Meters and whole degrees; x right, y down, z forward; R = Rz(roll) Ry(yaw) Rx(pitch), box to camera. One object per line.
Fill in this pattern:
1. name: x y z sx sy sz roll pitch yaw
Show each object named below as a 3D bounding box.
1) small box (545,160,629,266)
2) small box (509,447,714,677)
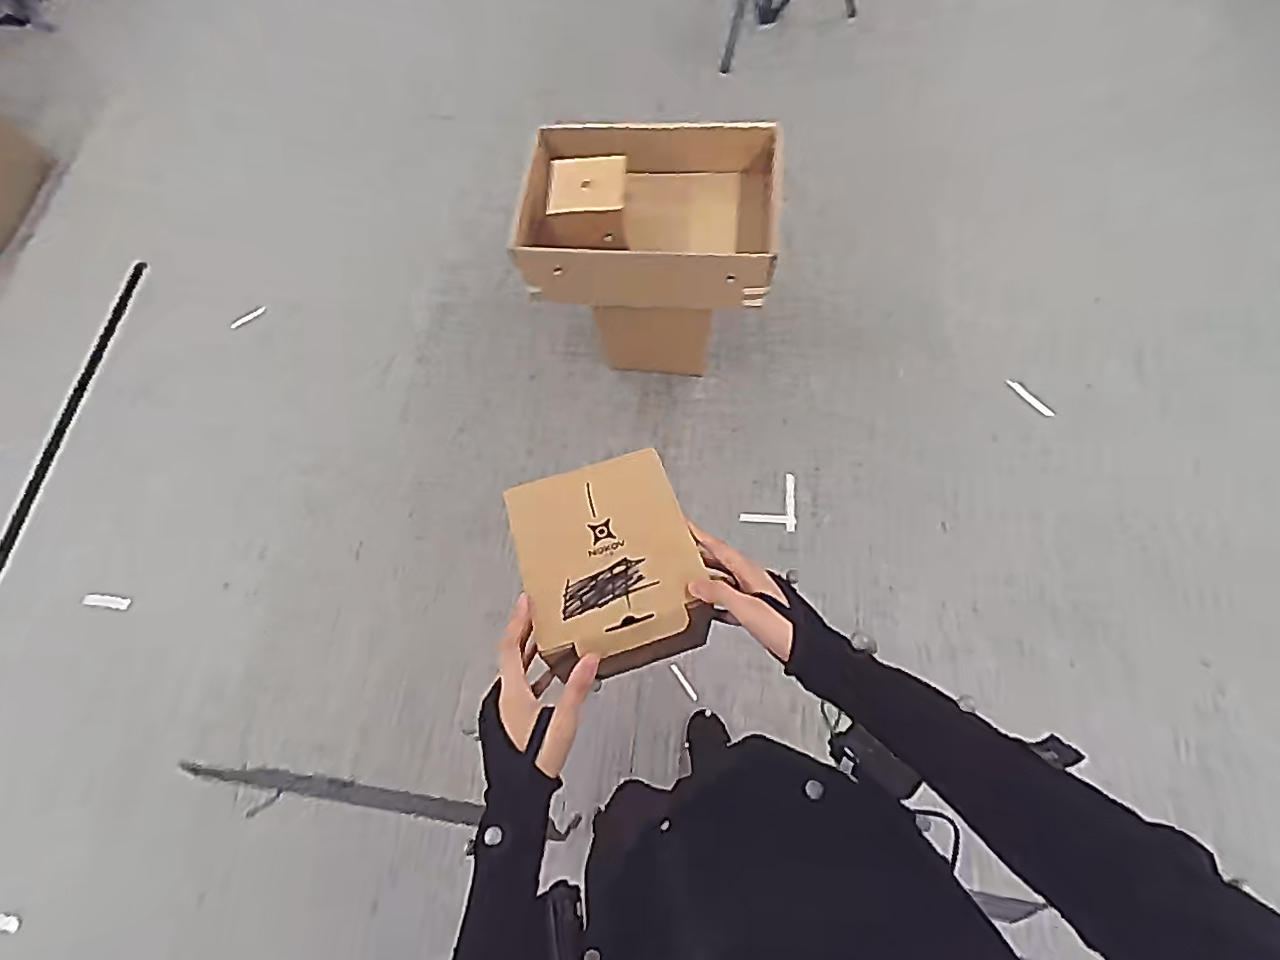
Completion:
1. small box: -0.121 -0.650 1.329 0.179 0.176 0.168 -1 71 6
2. small box: -0.028 0.098 0.581 0.168 0.176 0.179 -16 58 -7
